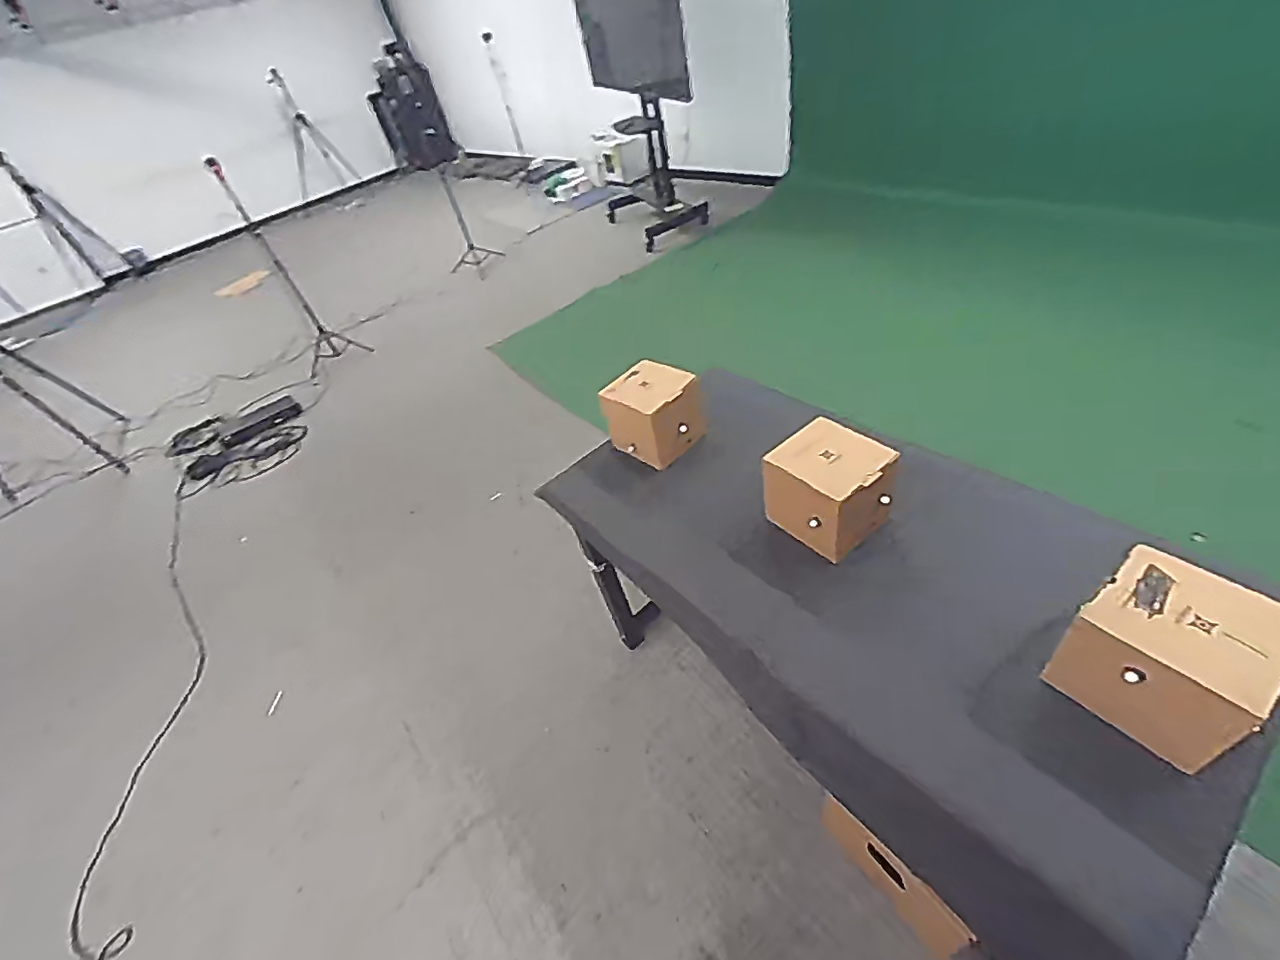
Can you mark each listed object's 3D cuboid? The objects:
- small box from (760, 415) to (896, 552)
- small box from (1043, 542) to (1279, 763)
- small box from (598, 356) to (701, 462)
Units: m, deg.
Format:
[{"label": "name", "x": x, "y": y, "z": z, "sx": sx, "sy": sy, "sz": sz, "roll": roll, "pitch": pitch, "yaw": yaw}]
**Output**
[{"label": "small box", "x": 0.350, "y": 0.011, "z": 1.022, "sx": 0.168, "sy": 0.176, "sz": 0.179, "roll": -33, "pitch": 44, "yaw": -21}, {"label": "small box", "x": 0.669, "y": 0.220, "z": 0.697, "sx": 0.168, "sy": 0.176, "sz": 0.179, "roll": -34, "pitch": 45, "yaw": -19}, {"label": "small box", "x": 0.029, "y": -0.167, "z": 1.303, "sx": 0.179, "sy": 0.176, "sz": 0.168, "roll": 29, "pitch": 58, "yaw": 36}]
